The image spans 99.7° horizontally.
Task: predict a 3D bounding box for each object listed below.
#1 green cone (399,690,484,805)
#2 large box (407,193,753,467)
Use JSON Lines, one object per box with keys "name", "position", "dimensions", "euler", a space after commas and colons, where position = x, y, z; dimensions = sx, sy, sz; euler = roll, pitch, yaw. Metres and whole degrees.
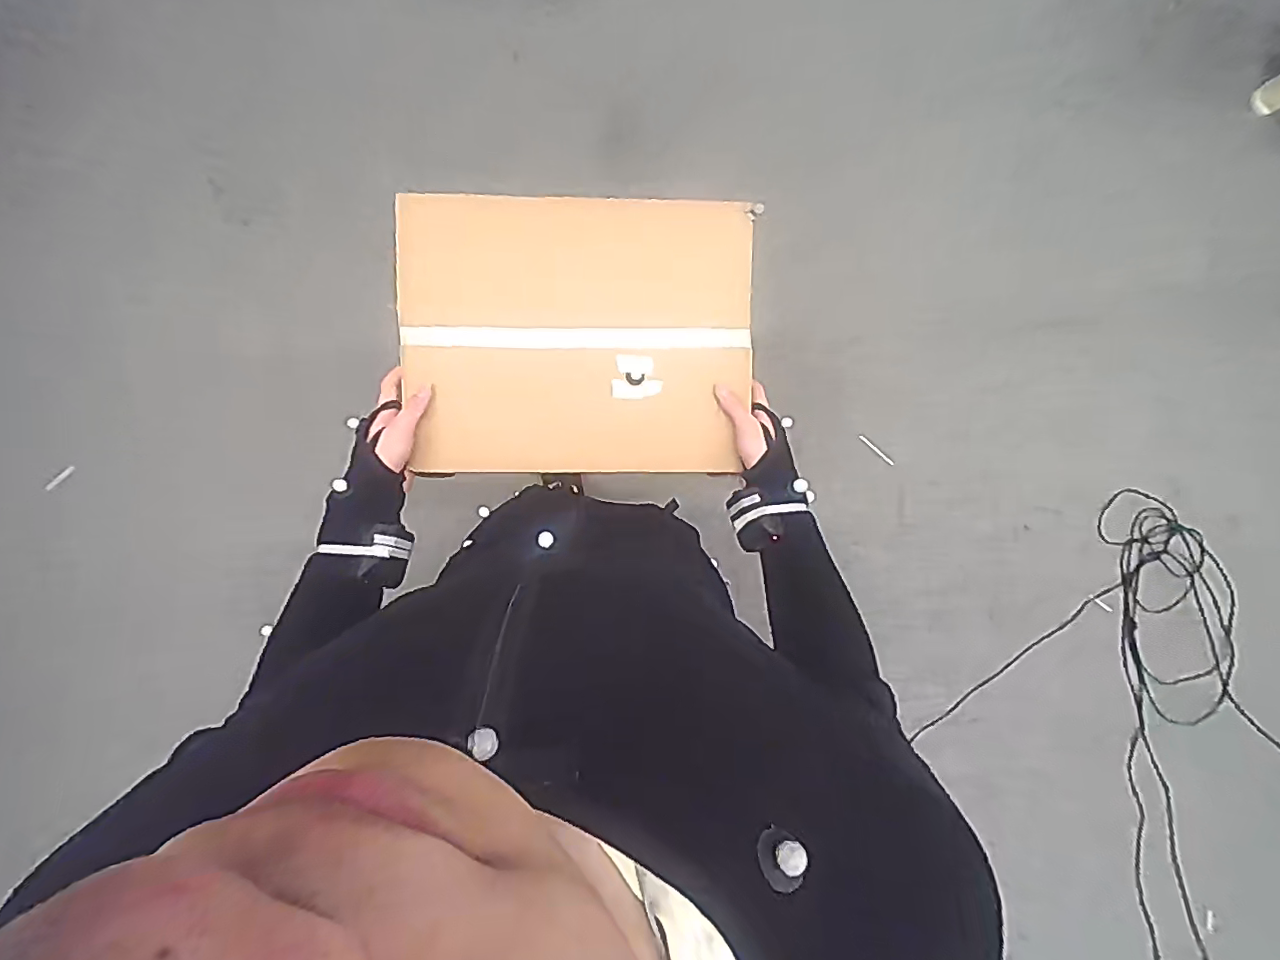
{"name": "green cone", "position": [-0.559, 0.730, 1.438], "dimensions": [0.200, 0.368, 0.202], "euler": [2, 91, -3]}
{"name": "large box", "position": [-0.074, -0.187, 0.781], "dimensions": [0.408, 0.320, 0.320], "euler": [0, 96, -3]}
